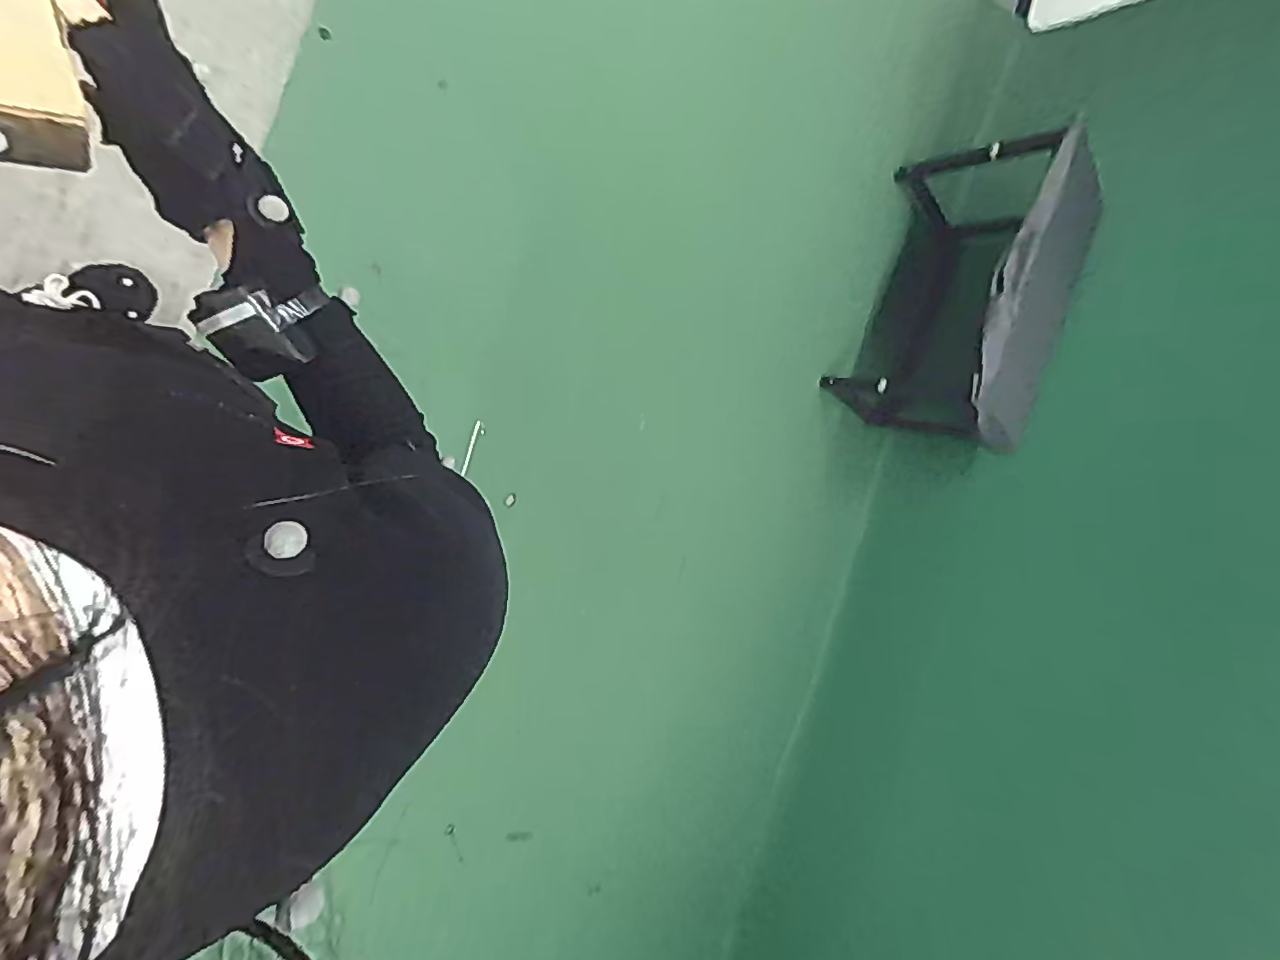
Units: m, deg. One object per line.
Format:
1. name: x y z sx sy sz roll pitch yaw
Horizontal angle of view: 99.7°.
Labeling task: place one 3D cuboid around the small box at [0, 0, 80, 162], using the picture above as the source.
1. small box: -0.409 -0.265 0.255 0.179 0.176 0.168 -18 116 -42
